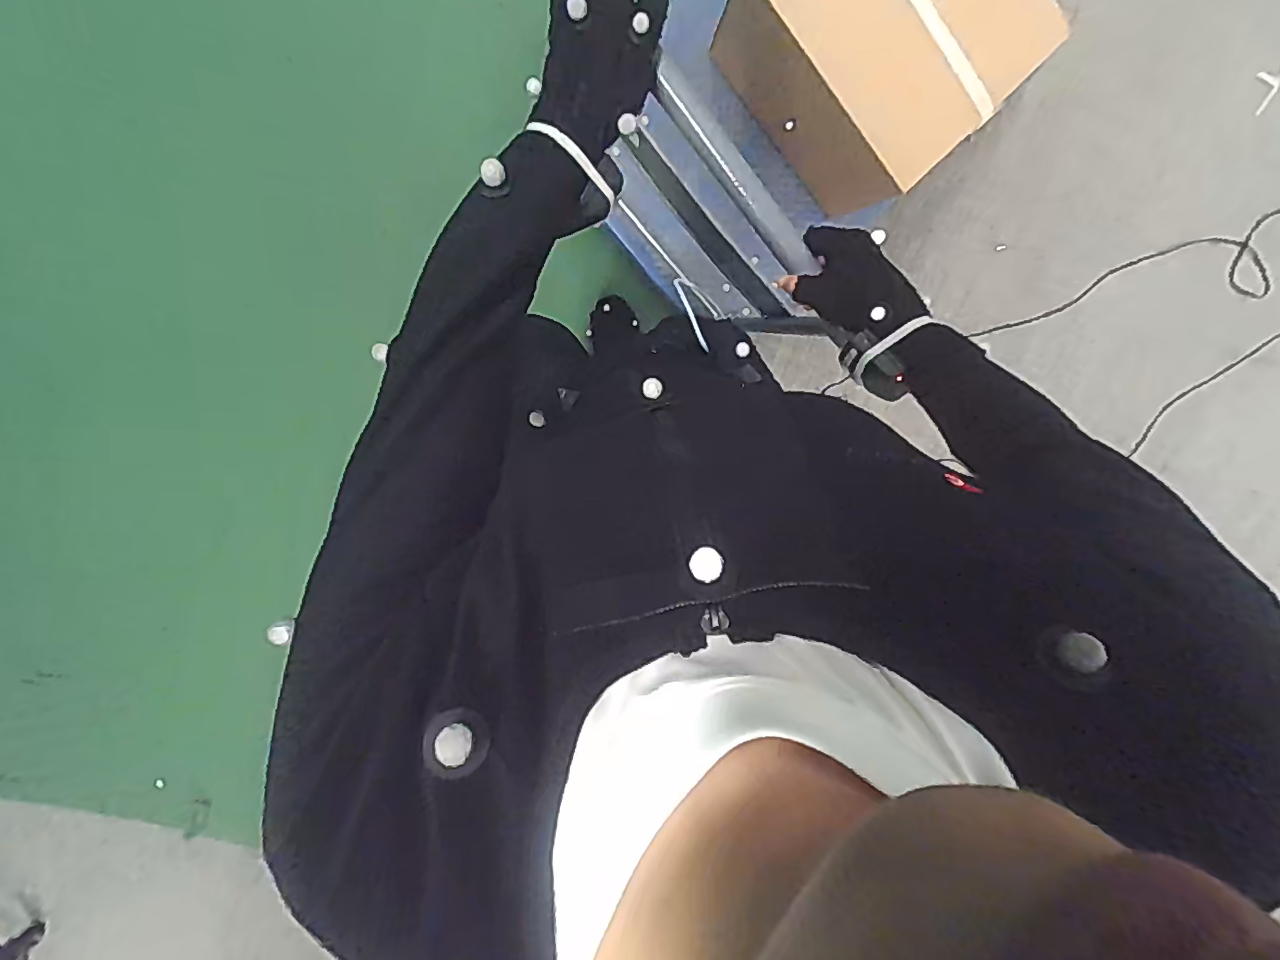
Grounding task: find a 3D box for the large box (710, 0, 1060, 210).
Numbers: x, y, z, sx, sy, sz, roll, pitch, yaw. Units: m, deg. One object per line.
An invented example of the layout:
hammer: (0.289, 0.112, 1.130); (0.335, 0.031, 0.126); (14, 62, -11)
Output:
large box: (0.382, -0.753, 0.932); (0.320, 0.320, 0.408); (-43, 105, 11)
